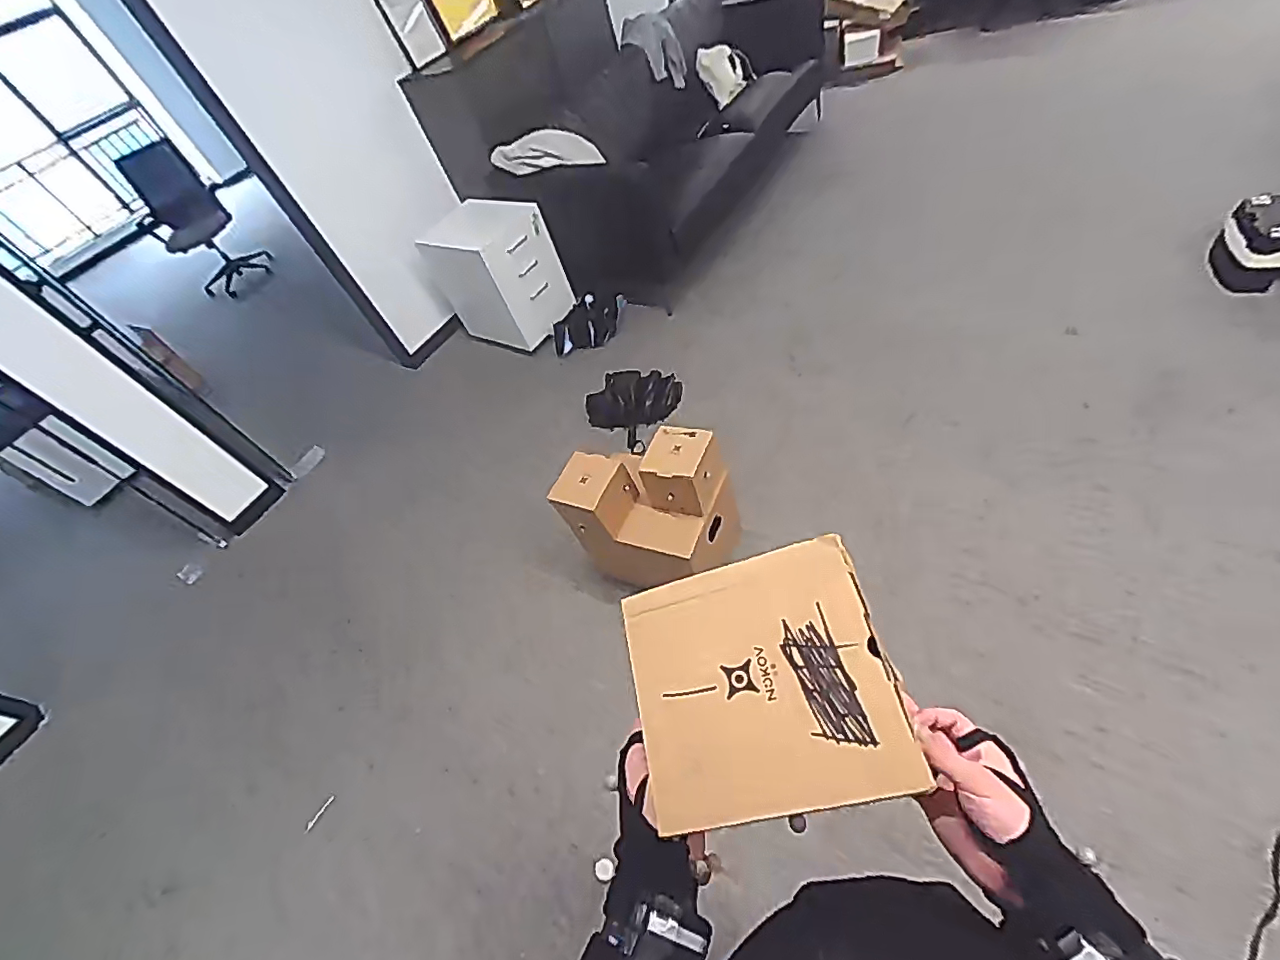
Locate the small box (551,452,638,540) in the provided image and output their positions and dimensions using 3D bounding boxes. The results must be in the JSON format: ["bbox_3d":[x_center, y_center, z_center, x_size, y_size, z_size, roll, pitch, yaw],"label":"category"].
[{"bbox_3d":[-0.122,0.048,1.573,0.168,0.176,0.179,12,61,29],"label":"small box"}]

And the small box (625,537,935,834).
[{"bbox_3d":[0.109,0.168,0.439,0.179,0.176,0.168,-21,59,15],"label":"small box"}]

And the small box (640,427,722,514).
[{"bbox_3d":[0.125,-0.024,1.536,0.168,0.176,0.179,9,55,27],"label":"small box"}]
